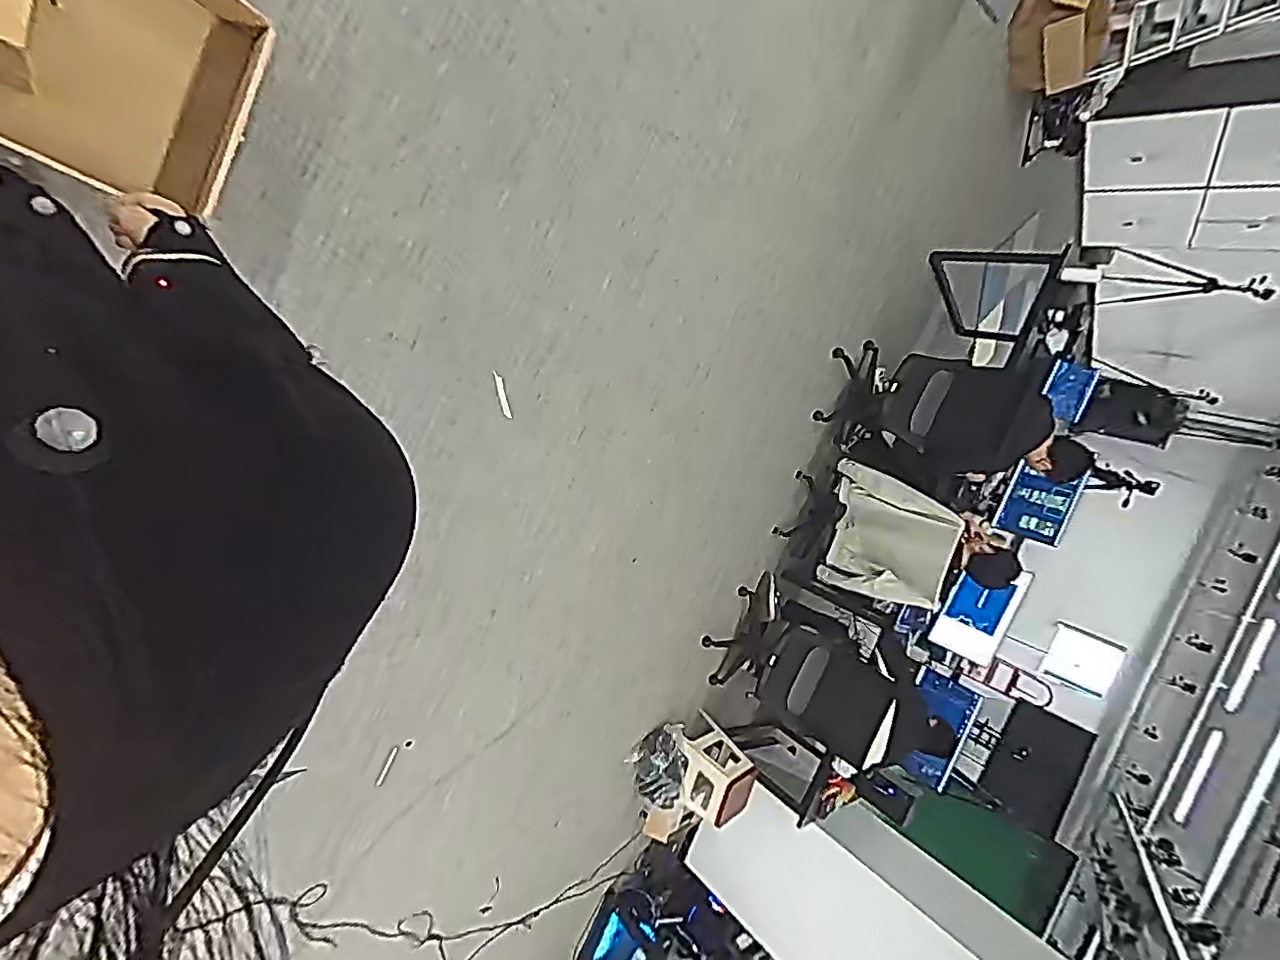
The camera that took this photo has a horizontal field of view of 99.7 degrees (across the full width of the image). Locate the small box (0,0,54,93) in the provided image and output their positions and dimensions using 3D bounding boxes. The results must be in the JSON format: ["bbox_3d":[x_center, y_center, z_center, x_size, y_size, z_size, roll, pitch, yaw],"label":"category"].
[{"bbox_3d":[-0.965,-0.696,0.766,0.168,0.176,0.179,12,100,-47],"label":"small box"}]
